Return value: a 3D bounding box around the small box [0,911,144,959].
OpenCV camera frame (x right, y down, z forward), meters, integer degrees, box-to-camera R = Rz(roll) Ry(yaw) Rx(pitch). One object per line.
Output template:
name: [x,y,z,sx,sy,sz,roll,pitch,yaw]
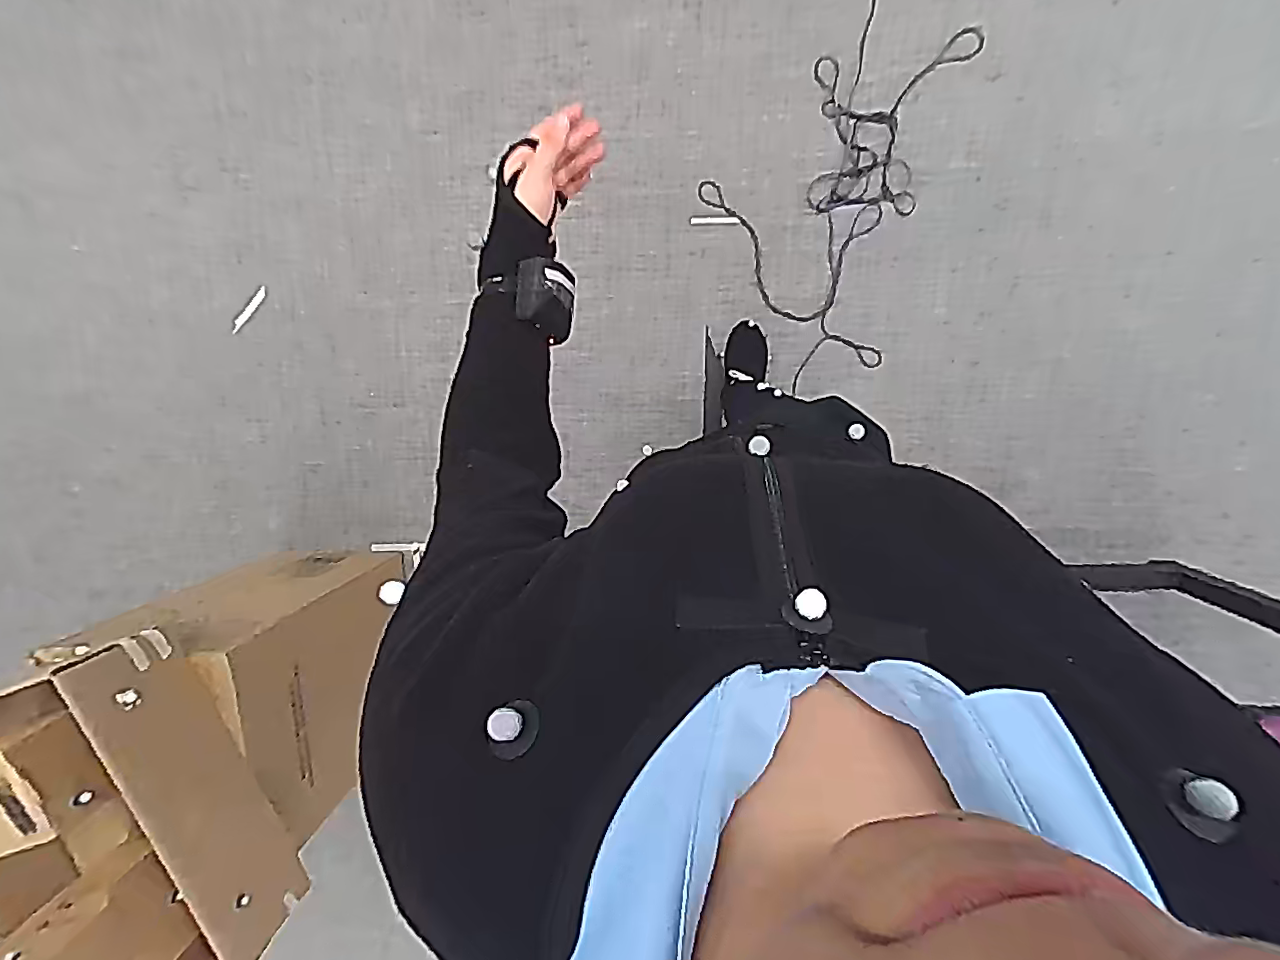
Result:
small box: [-0.888,0.782,0.798,0.168,0.176,0.179,-16,98,7]
